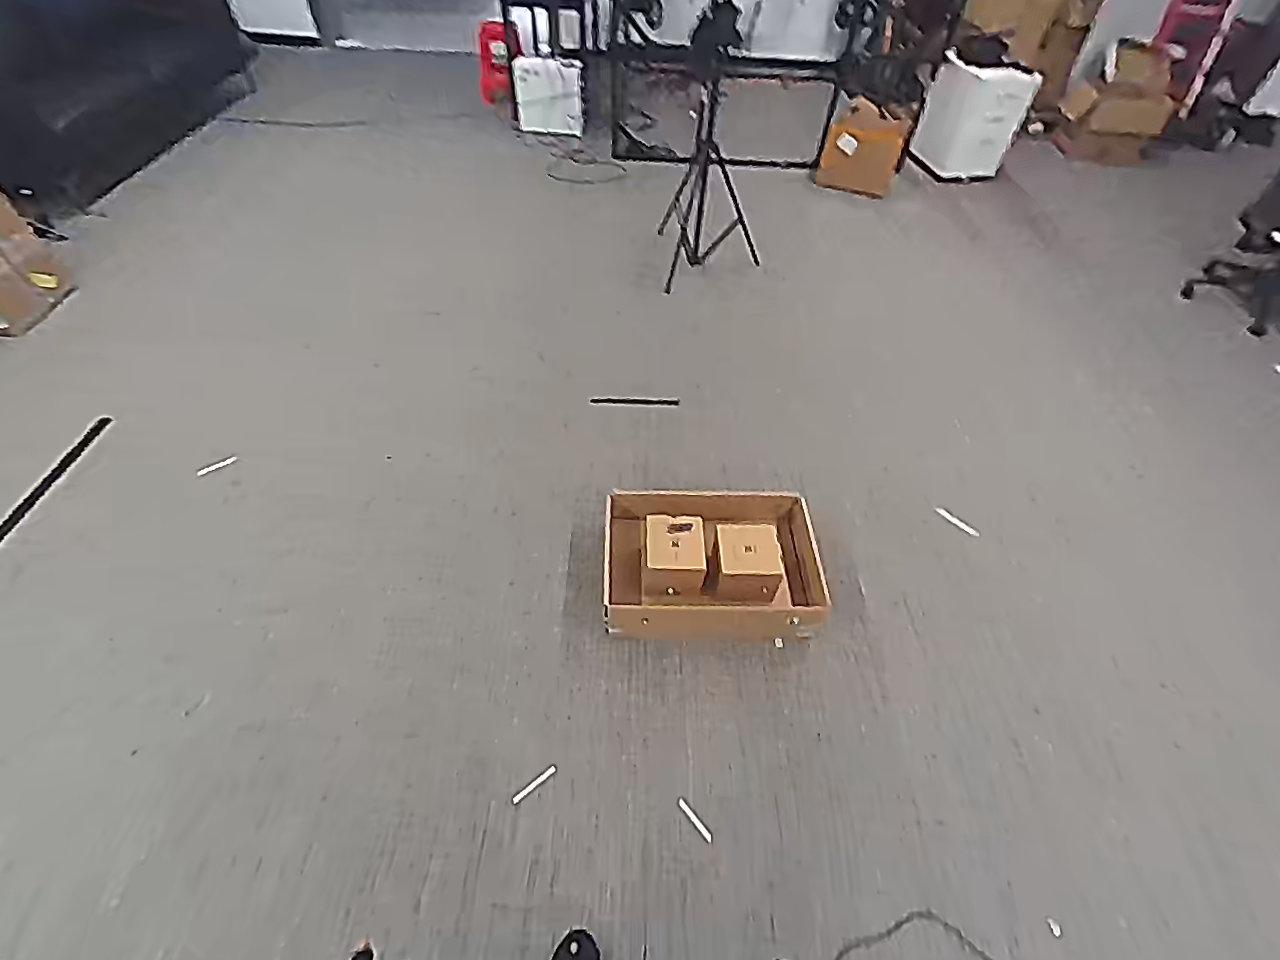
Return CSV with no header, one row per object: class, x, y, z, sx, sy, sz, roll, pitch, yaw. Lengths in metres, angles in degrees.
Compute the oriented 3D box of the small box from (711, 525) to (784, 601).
small box,0.311,0.248,1.598,0.179,0.176,0.168,0,50,0
